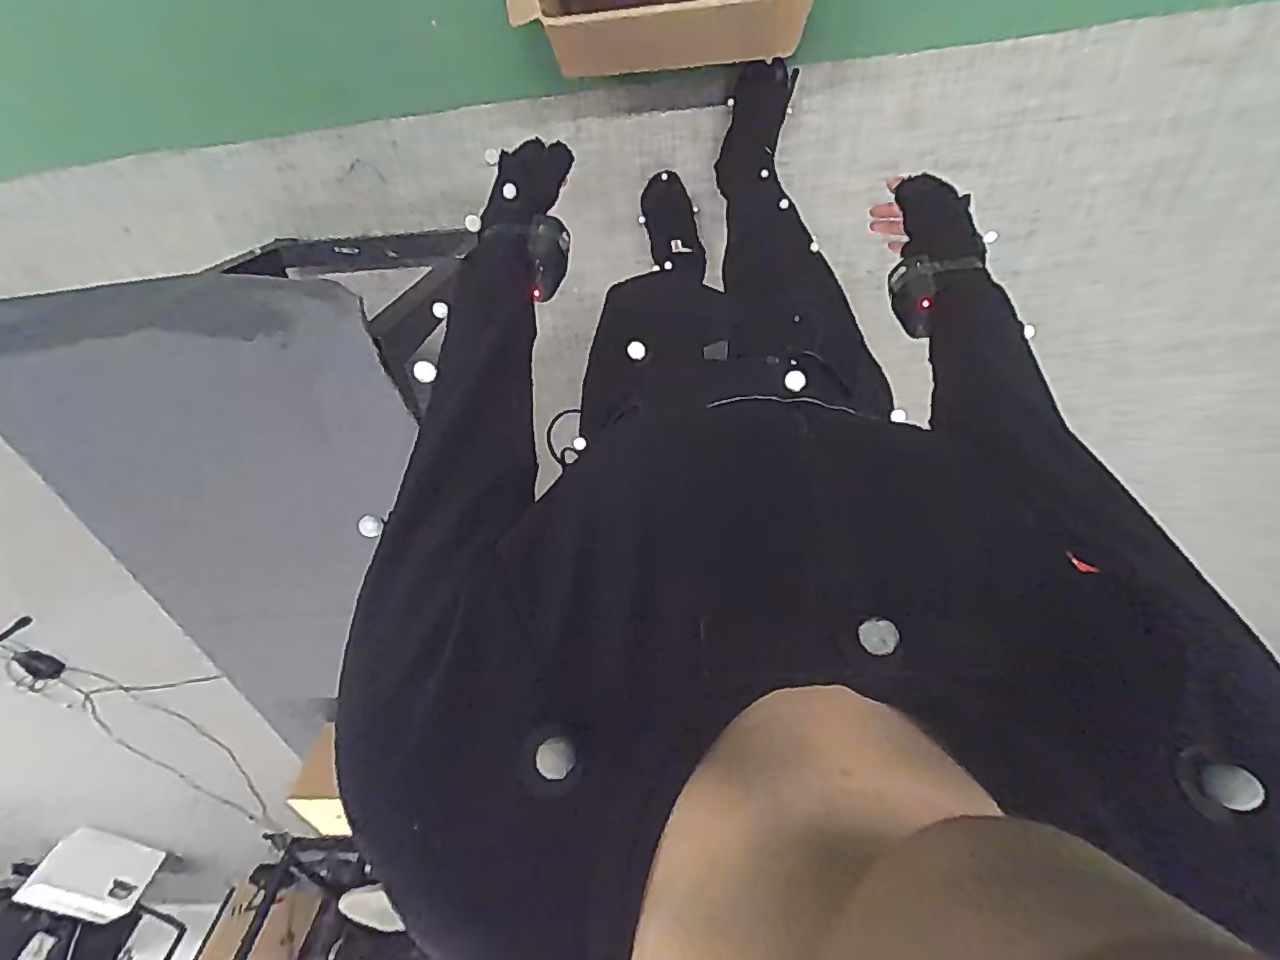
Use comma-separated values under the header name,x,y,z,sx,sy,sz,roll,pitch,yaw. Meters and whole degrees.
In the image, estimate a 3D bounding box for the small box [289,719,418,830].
name,x,y,z,sx,sy,sz,roll,pitch,yaw
small box,-0.611,0.645,1.189,0.179,0.176,0.168,-4,126,6
